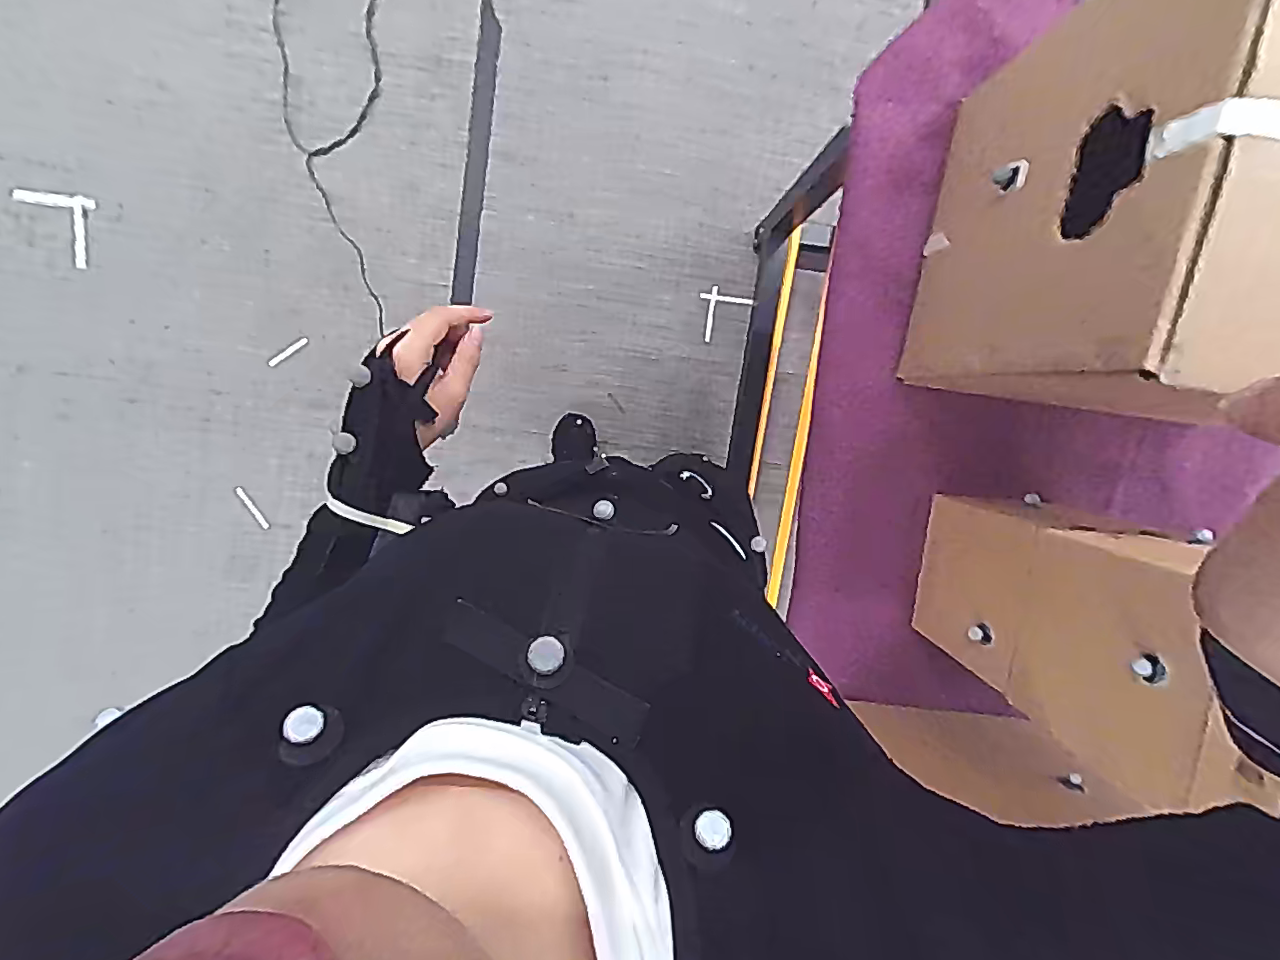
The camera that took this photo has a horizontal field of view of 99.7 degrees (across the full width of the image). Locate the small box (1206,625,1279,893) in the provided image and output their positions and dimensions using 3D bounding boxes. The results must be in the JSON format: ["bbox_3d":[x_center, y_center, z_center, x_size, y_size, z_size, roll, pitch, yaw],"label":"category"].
[{"bbox_3d":[0.470,0.178,0.275,0.179,0.176,0.168,3,98,-4],"label":"small box"}]
